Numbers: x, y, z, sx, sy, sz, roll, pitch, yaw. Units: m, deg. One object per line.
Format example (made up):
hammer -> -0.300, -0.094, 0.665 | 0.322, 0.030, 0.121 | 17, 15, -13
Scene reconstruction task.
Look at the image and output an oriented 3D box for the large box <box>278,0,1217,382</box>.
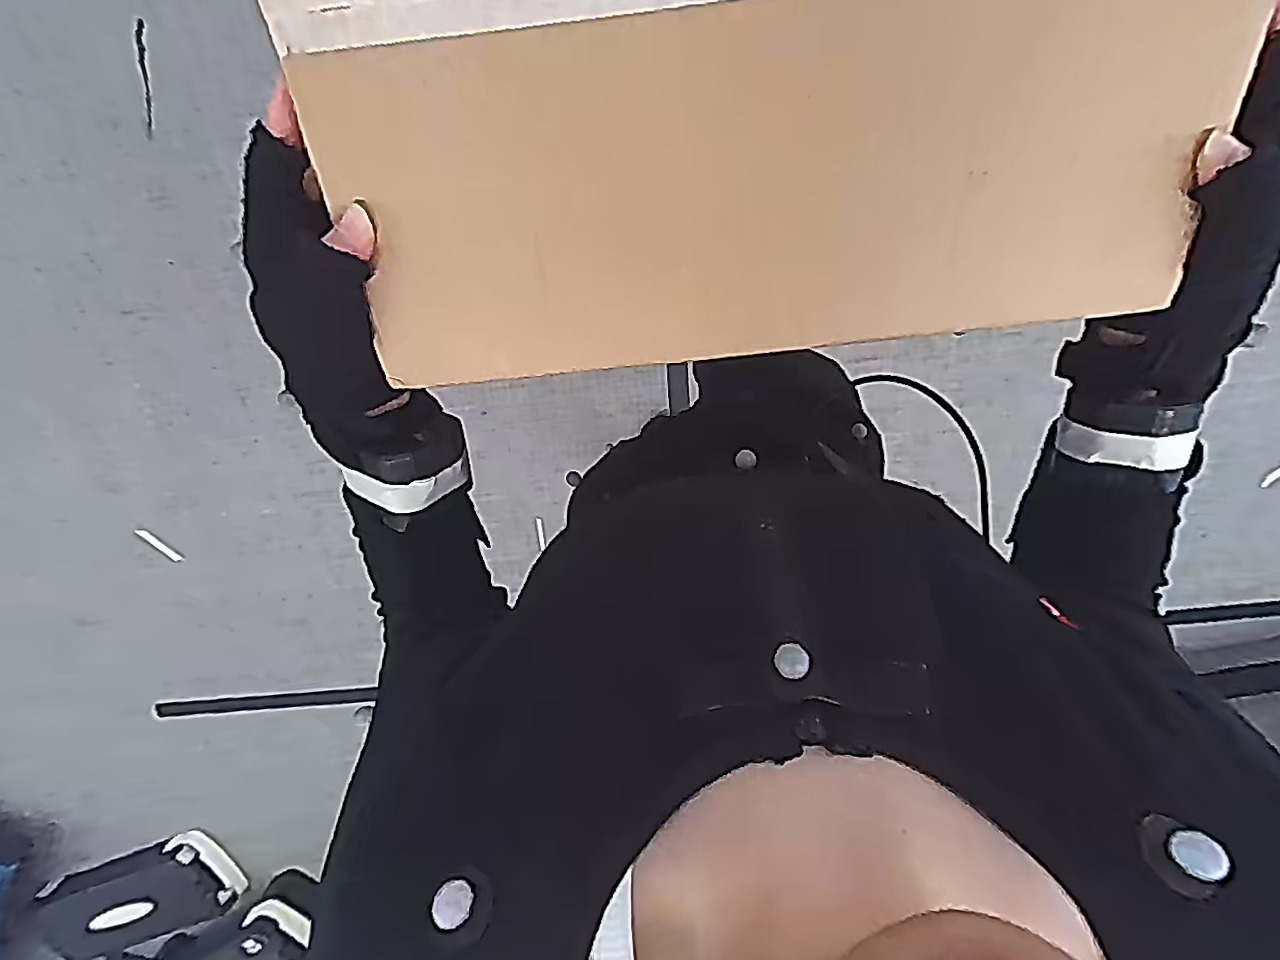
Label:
large box -> 0.046, -0.280, 0.355 | 0.408, 0.320, 0.320 | -6, 117, 2
